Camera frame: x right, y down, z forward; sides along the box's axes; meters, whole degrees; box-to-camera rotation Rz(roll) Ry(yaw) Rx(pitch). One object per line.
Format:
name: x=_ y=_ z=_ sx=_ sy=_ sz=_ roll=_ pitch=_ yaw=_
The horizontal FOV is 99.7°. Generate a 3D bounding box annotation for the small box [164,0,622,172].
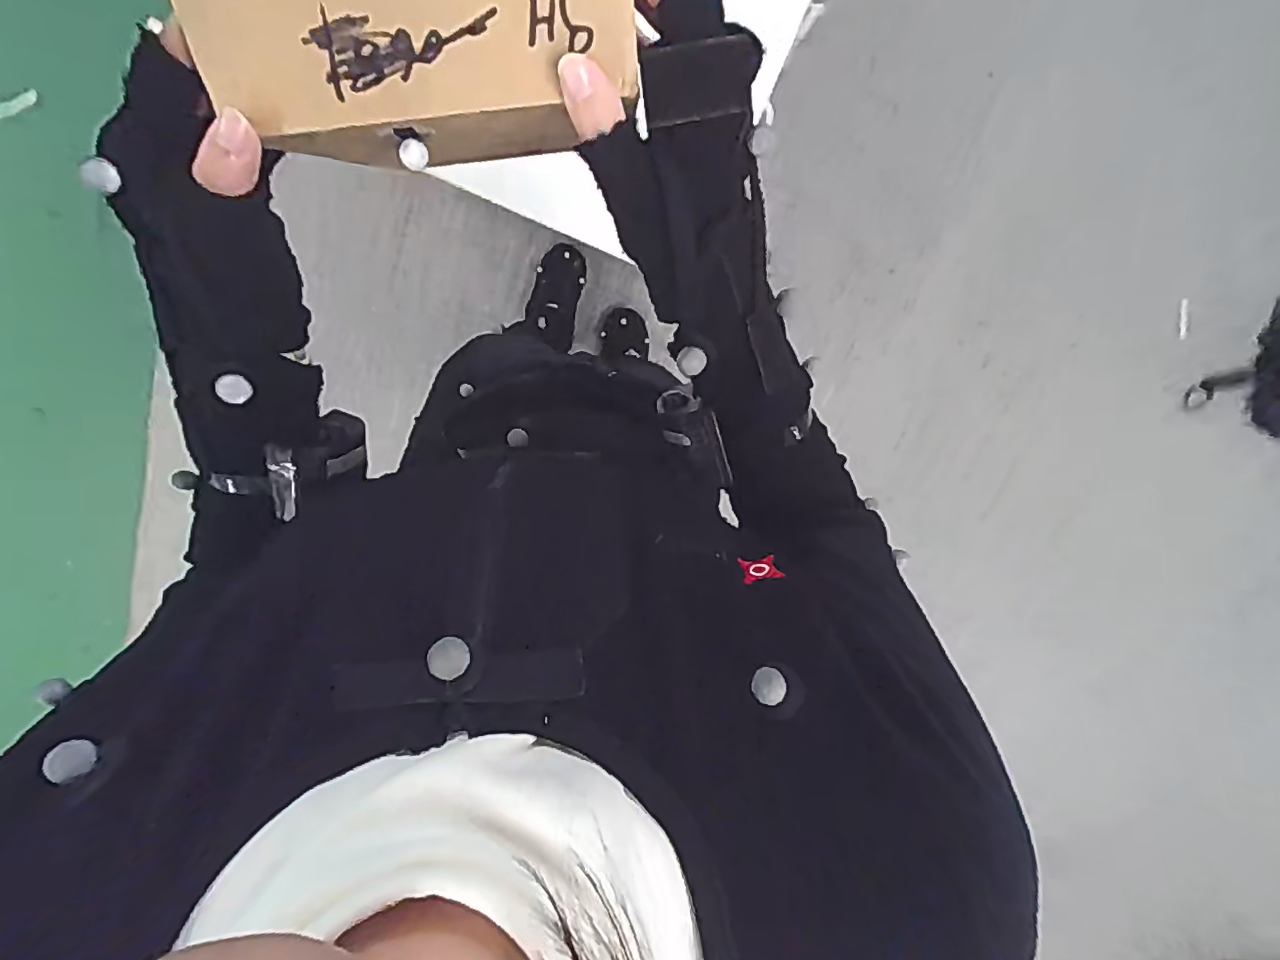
small box: x=-0.101 y=-0.259 z=0.252 sx=0.168 sy=0.176 sz=0.179 roll=-7 pitch=115 yaw=1
